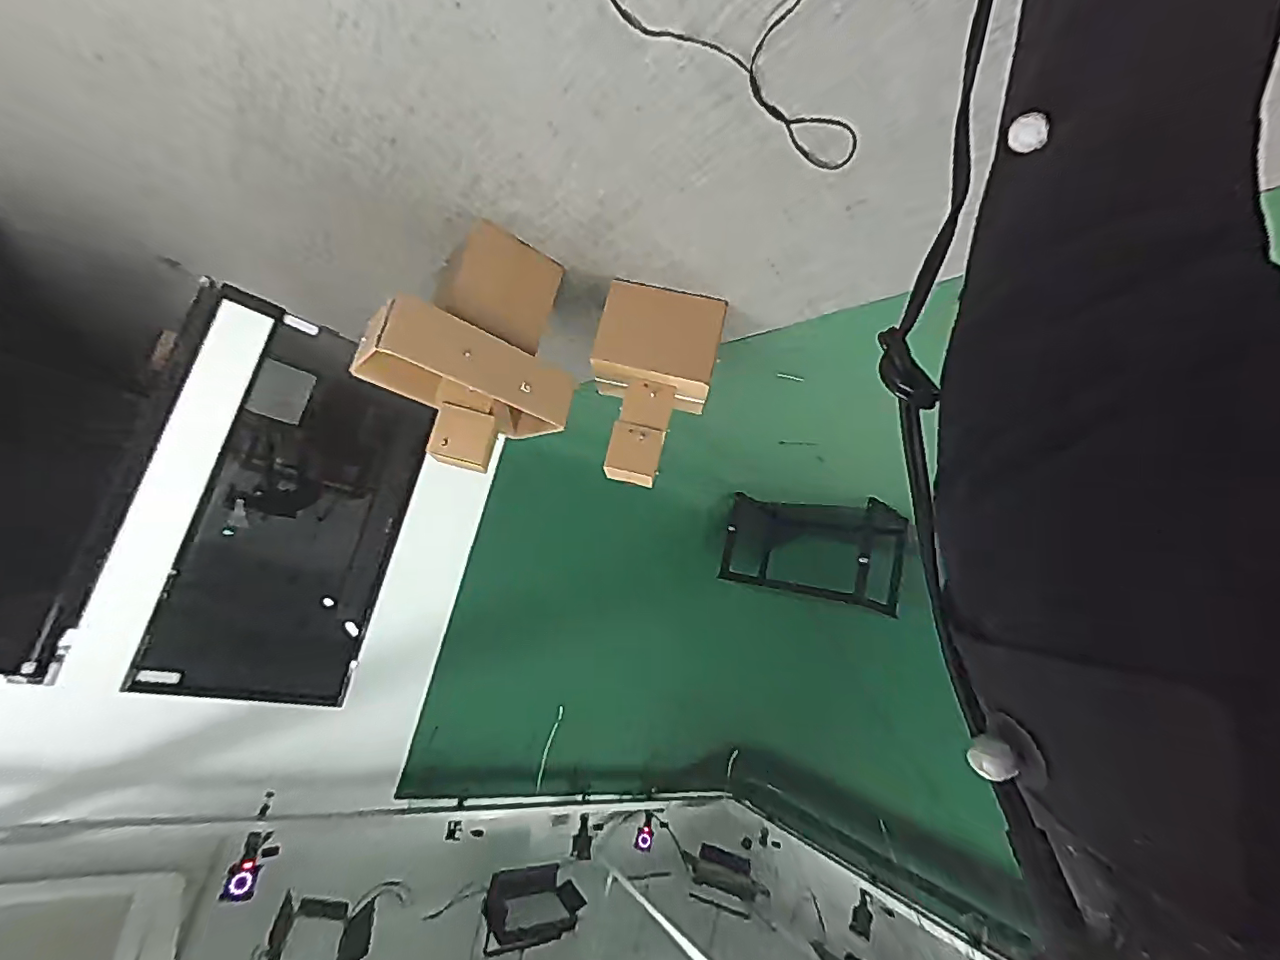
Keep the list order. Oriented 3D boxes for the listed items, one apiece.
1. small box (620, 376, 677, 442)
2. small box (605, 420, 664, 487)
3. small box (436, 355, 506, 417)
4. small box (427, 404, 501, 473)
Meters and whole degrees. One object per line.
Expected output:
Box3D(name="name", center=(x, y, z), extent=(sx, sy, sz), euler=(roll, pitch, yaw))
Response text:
Box3D(name="small box", center=(0.029, -0.241, 1.888), extent=(0.168, 0.176, 0.179), euler=(14, 168, 1))
Box3D(name="small box", center=(-0.015, -0.089, 1.850), extent=(0.168, 0.176, 0.179), euler=(13, 168, 3))
Box3D(name="small box", center=(-0.554, -0.299, 1.802), extent=(0.179, 0.176, 0.168), euler=(15, 167, -6))
Box3D(name="small box", center=(-0.568, -0.137, 1.764), extent=(0.179, 0.176, 0.168), euler=(15, 169, -7))
